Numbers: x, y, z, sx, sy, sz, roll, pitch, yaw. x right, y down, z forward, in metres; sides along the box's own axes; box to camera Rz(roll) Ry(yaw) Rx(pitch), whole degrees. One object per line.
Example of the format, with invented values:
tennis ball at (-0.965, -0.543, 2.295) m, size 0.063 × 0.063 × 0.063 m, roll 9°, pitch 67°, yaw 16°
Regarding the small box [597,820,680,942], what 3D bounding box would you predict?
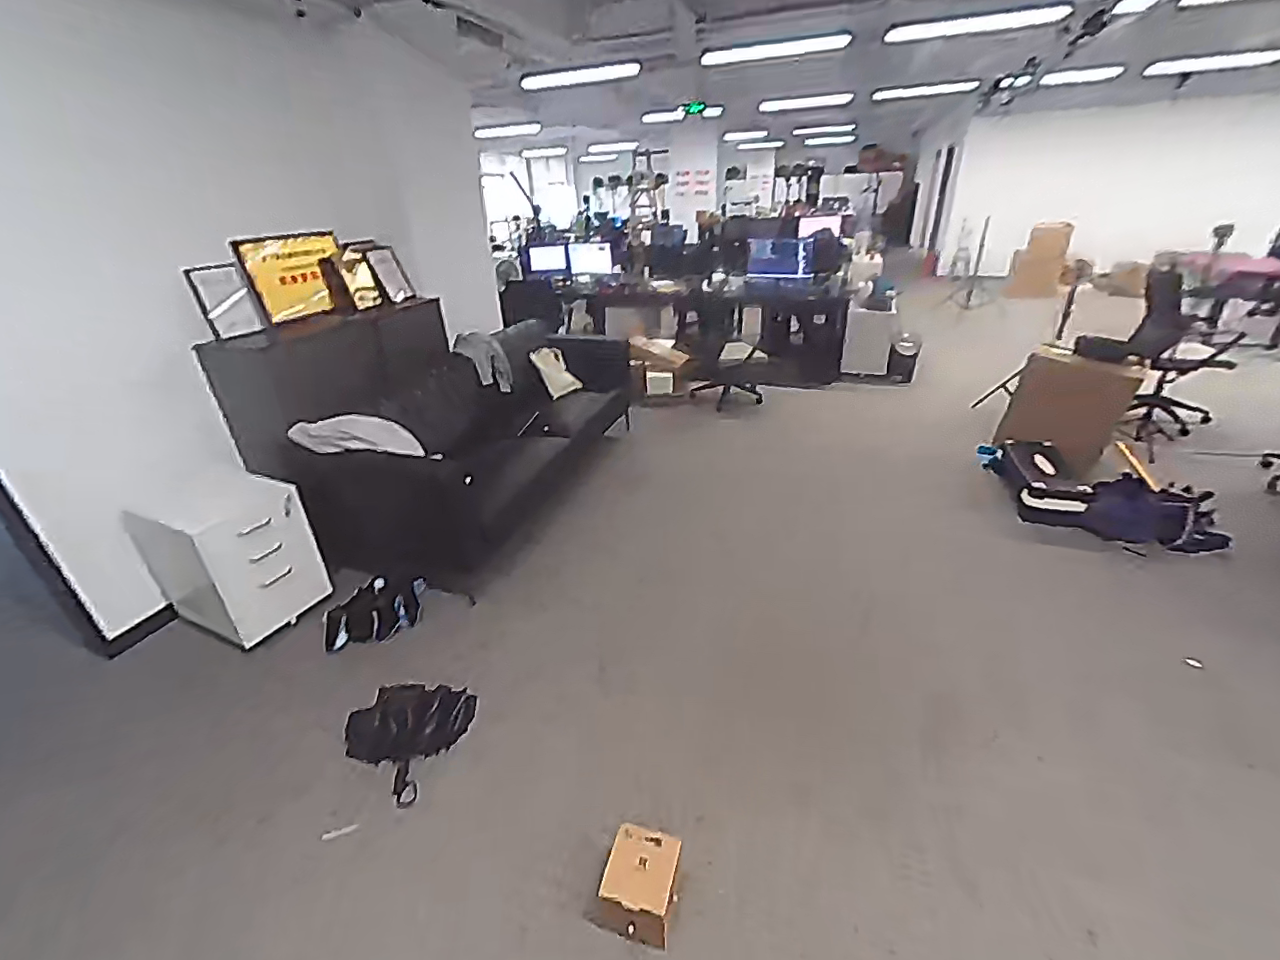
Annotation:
small box at (0.005, 1.008, 1.358) m, size 0.168 × 0.176 × 0.179 m, roll 6°, pitch 31°, yaw 16°
